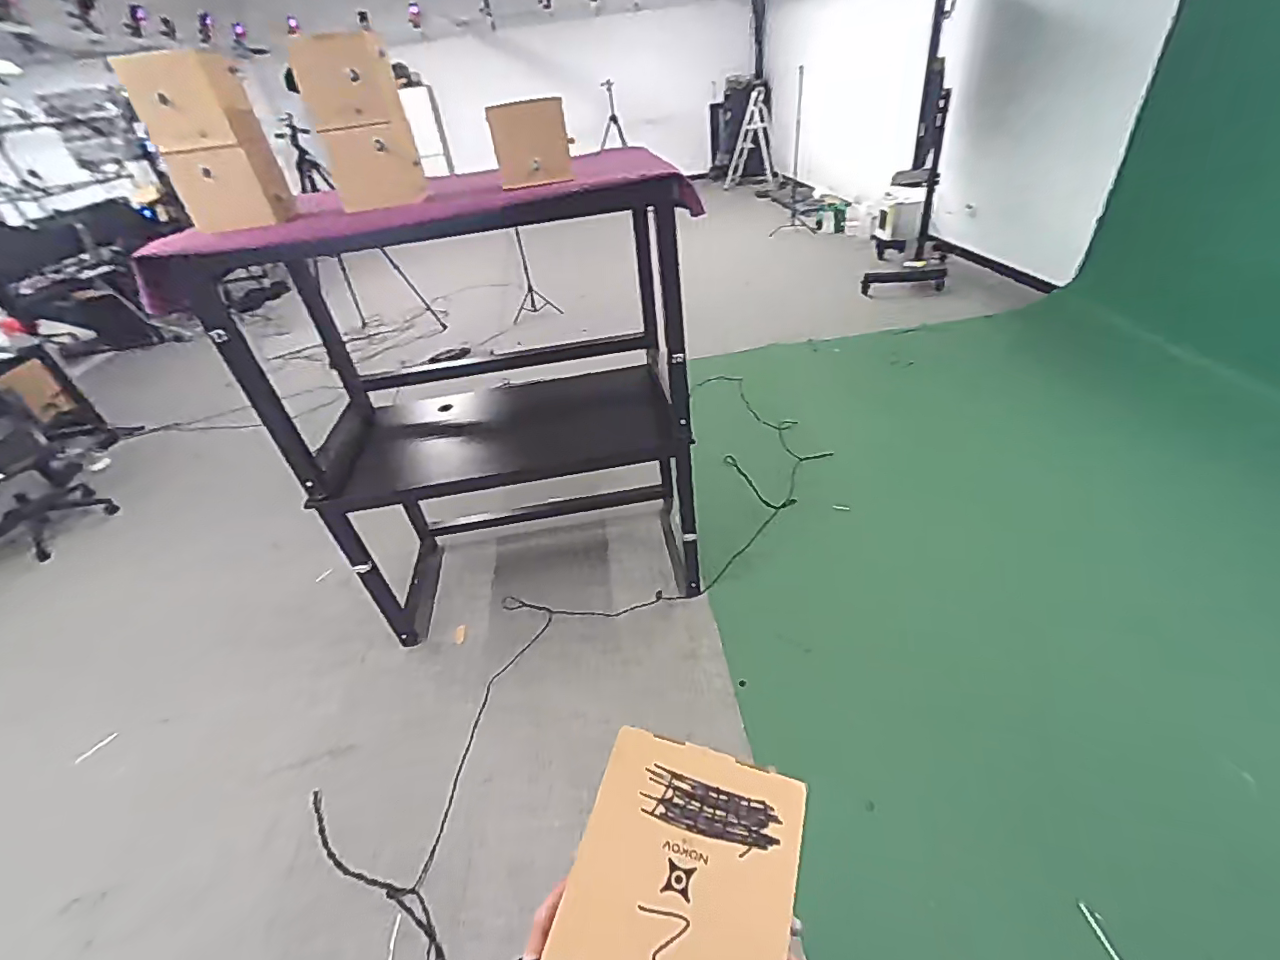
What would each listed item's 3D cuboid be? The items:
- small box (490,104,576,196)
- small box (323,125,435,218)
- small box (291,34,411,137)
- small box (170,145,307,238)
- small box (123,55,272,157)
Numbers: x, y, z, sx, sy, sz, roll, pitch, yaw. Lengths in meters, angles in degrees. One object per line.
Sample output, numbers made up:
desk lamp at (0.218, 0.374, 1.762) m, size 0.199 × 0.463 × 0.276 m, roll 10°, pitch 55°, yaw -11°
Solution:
small box at (-0.252, -0.810, 1.324) m, size 0.179 × 0.176 × 0.168 m, roll -9°, pitch 34°, yaw -2°
small box at (-0.620, -0.751, 1.314) m, size 0.179 × 0.176 × 0.168 m, roll -9°, pitch 35°, yaw -2°
small box at (-0.640, -0.886, 1.226) m, size 0.168 × 0.176 × 0.179 m, roll -9°, pitch 35°, yaw -2°
small box at (-0.945, -0.689, 1.292) m, size 0.179 × 0.176 × 0.168 m, roll -10°, pitch 36°, yaw -5°
small box at (-0.963, -0.822, 1.201) m, size 0.168 × 0.176 × 0.179 m, roll -12°, pitch 36°, yaw -6°
